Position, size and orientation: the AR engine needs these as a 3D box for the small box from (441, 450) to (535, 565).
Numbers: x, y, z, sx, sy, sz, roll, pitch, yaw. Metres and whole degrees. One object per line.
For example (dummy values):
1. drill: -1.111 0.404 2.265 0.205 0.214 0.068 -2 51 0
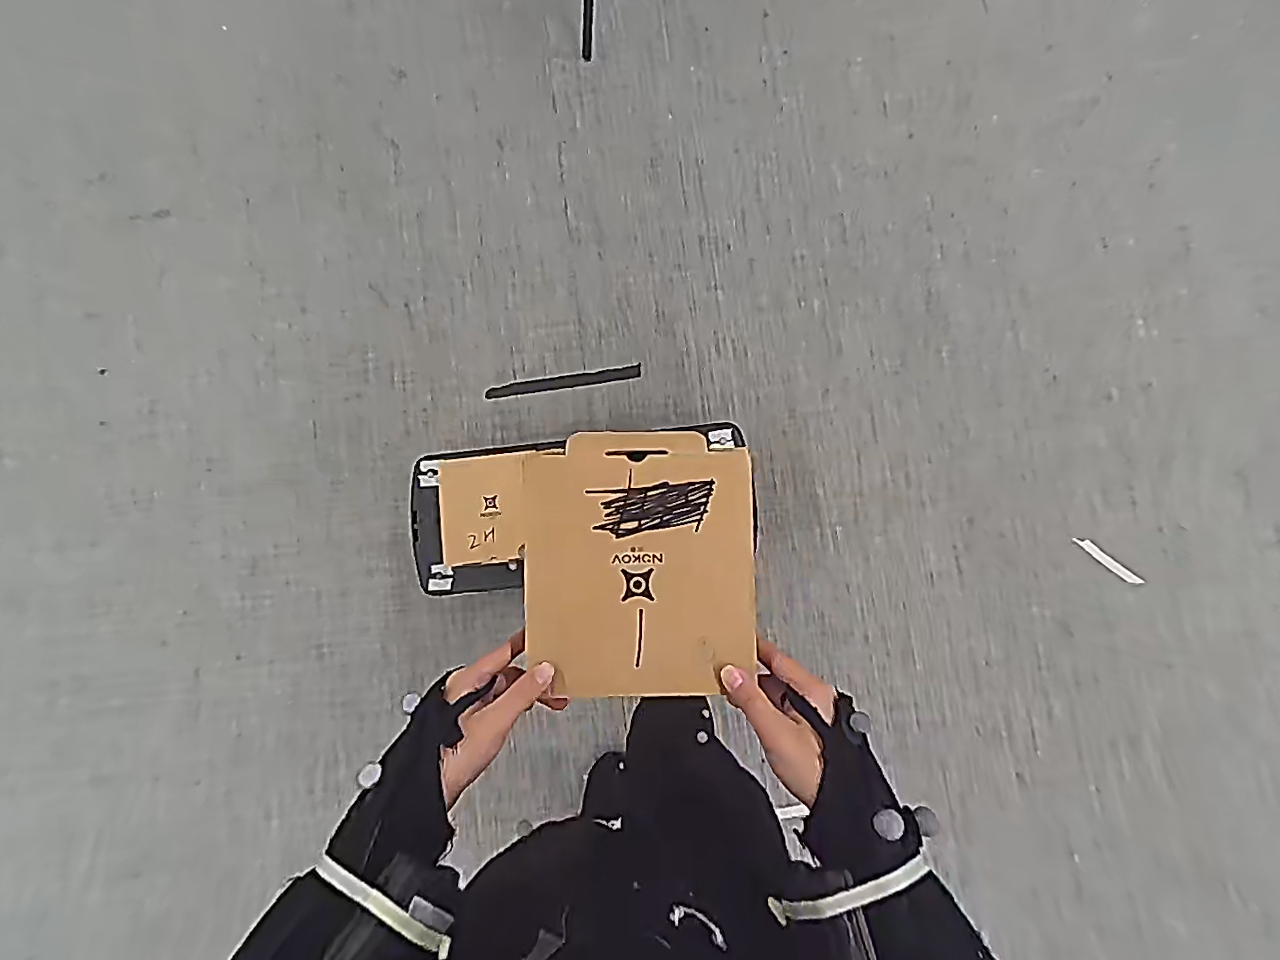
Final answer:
1. small box: -0.234 0.053 0.948 0.168 0.176 0.179 -6 84 2

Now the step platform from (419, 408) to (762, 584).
1. step platform: -0.097 0.037 1.120 0.684 0.204 0.286 -7 83 2

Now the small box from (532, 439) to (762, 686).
1. small box: 0.004 0.063 0.467 0.168 0.176 0.179 -1 87 1
